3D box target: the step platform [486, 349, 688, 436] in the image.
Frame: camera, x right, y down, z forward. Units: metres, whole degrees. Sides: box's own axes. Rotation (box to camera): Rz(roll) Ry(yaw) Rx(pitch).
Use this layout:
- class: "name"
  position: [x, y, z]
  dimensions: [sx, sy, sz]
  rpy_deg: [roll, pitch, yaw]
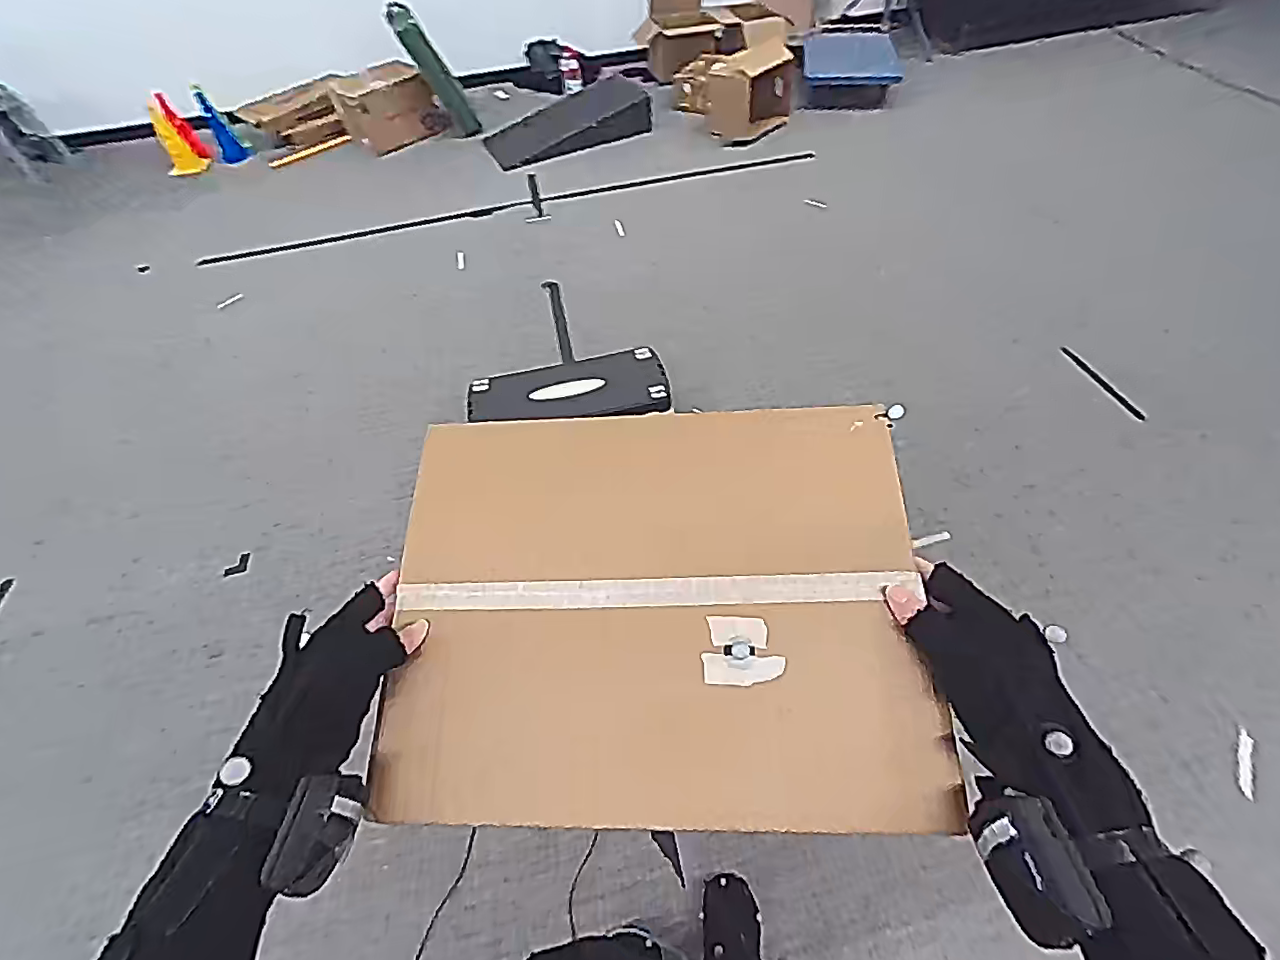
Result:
- class: "step platform"
  position: [-0.180, -0.245, 1.876]
  dimensions: [0.684, 0.204, 0.286]
  rpy_deg: [-12, 54, -6]

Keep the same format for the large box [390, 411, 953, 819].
- class: "large box"
  position: [0.023, 0.148, 0.570]
  dimensions: [0.408, 0.320, 0.320]
  rpy_deg: [-3, 68, 4]
